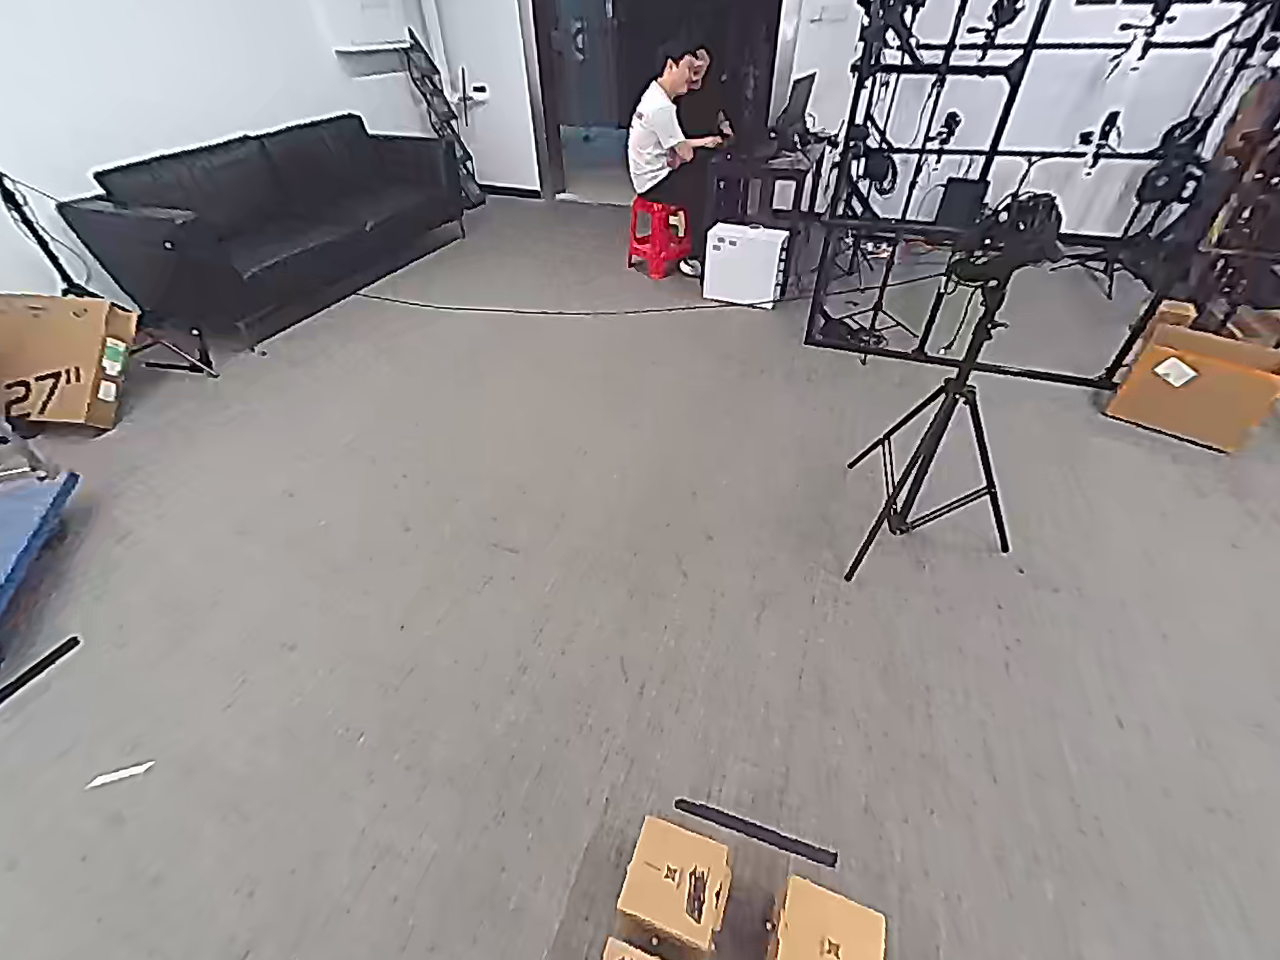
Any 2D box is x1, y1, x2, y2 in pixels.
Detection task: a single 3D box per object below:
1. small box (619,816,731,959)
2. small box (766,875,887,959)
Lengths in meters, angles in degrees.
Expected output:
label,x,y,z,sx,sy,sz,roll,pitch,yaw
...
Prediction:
label,x,y,z,sx,sy,sz,roll,pitch,yaw
small box,0.072,0.815,1.078,0.179,0.176,0.168,13,43,17
small box,0.337,0.878,0.999,0.179,0.176,0.168,13,43,17
